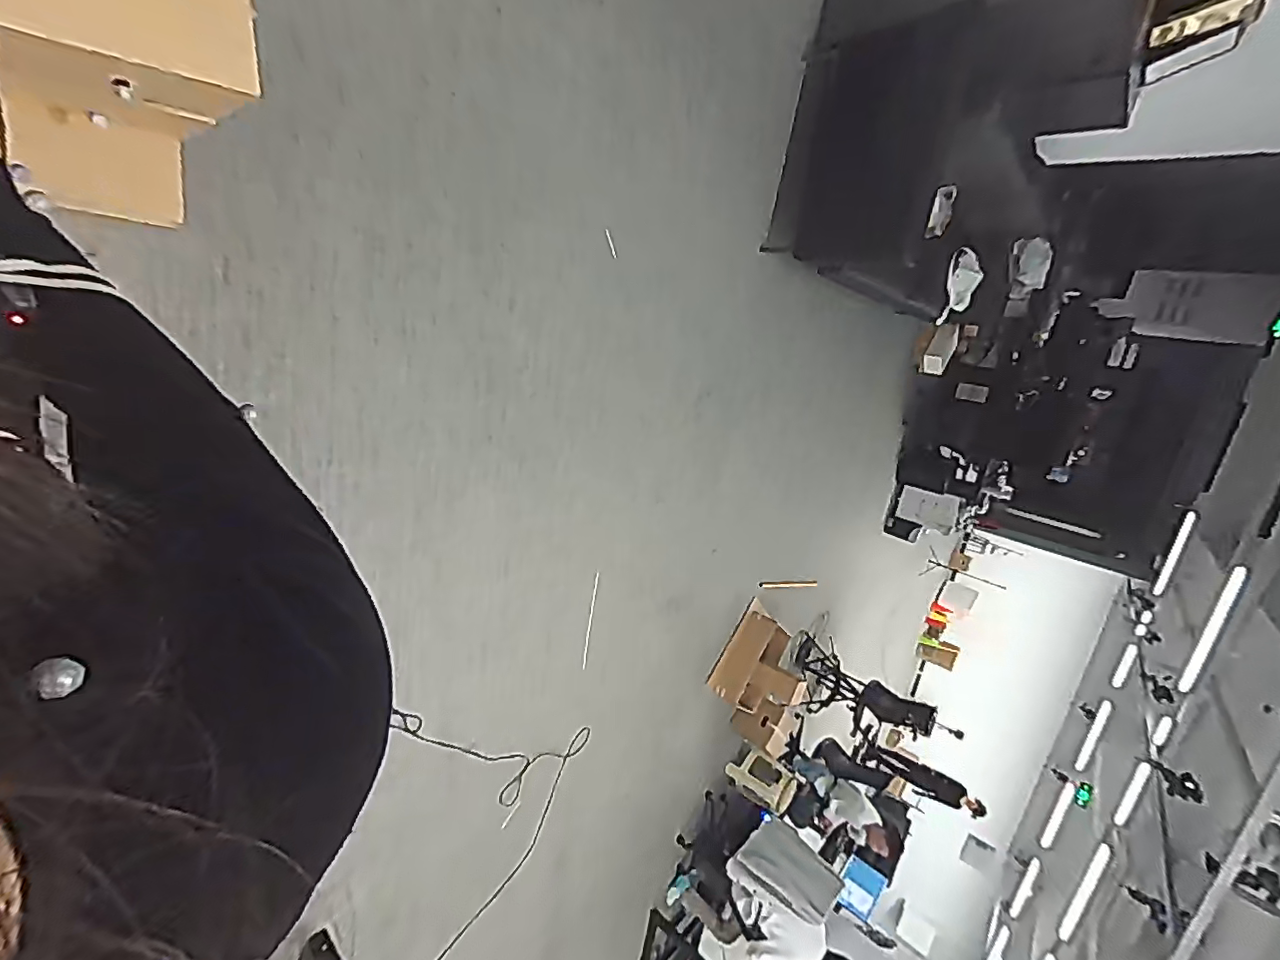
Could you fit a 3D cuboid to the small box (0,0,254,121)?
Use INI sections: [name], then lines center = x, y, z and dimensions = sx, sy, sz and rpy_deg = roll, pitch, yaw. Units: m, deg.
[small box]
center = -0.466, -0.441, 0.475
dimensions = 0.168, 0.176, 0.179
rpy_deg = -14, 117, -45
